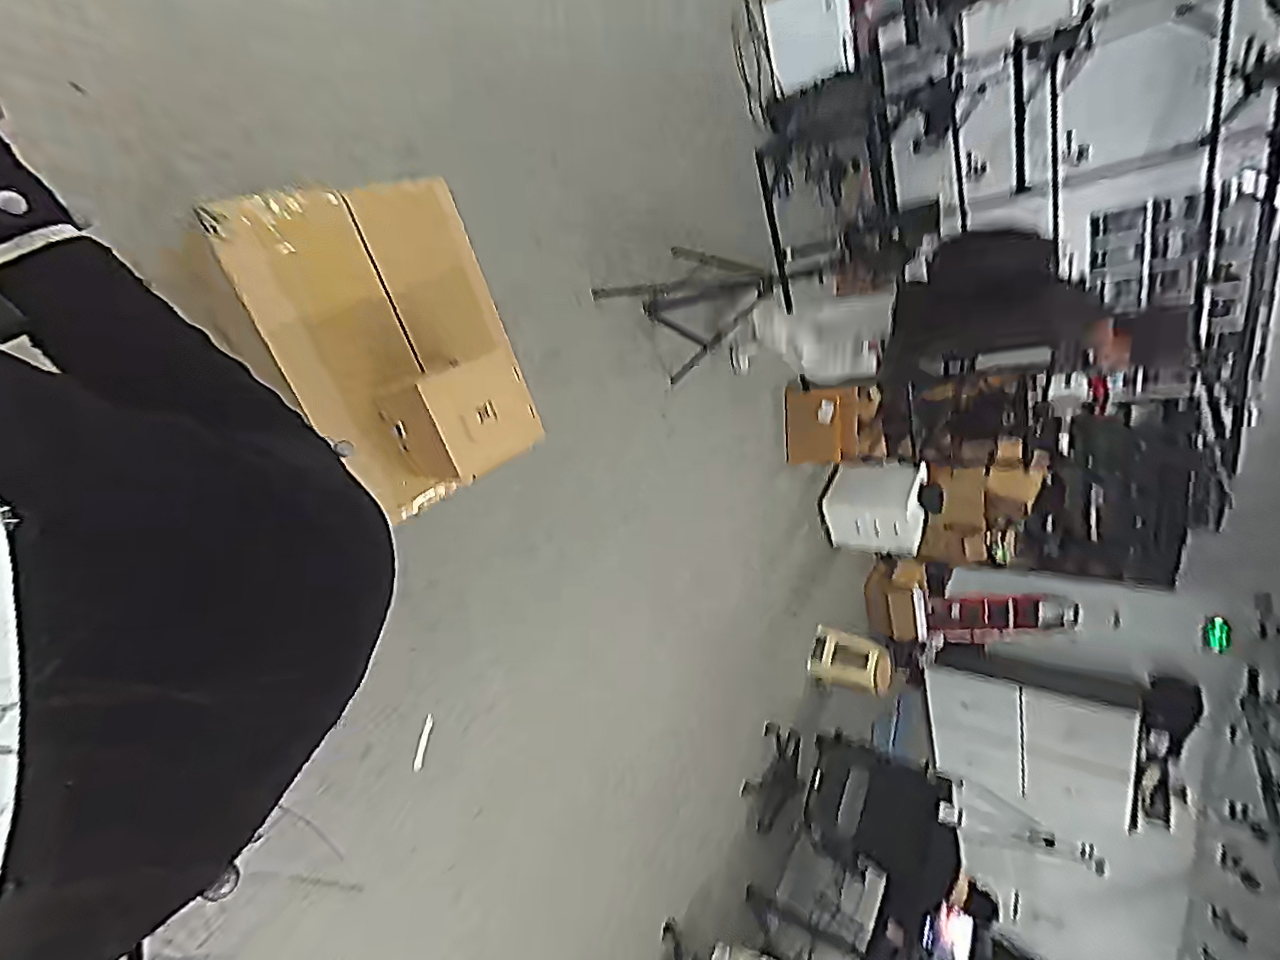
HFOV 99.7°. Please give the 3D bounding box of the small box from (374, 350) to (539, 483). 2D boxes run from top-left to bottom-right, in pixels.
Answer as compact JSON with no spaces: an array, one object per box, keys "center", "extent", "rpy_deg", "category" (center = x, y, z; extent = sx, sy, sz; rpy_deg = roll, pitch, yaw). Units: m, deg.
[{"center":[-0.311,-0.109,0.919],"extent":[0.179,0.176,0.168],"rpy_deg":[-37,117,-39],"category":"small box"}]
